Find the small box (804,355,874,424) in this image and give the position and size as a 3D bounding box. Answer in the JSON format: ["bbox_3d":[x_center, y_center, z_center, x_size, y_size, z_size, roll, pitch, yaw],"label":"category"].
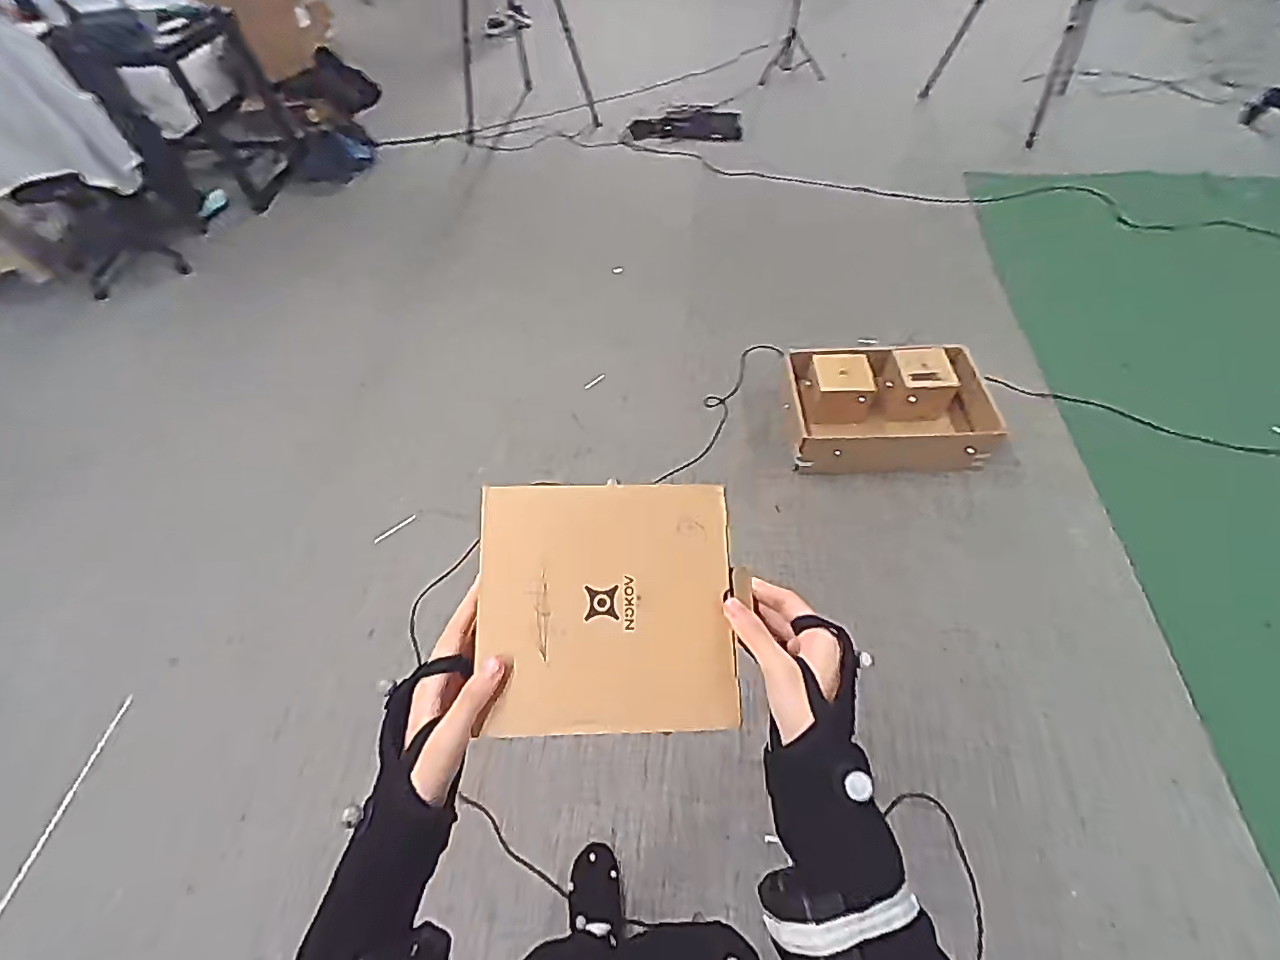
[{"bbox_3d":[0.660,-0.302,1.818,0.179,0.176,0.168,0,57,2],"label":"small box"}]

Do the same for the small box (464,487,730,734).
[{"bbox_3d":[-0.030,0.105,0.448,0.179,0.176,0.168,1,76,-2],"label":"small box"}]
